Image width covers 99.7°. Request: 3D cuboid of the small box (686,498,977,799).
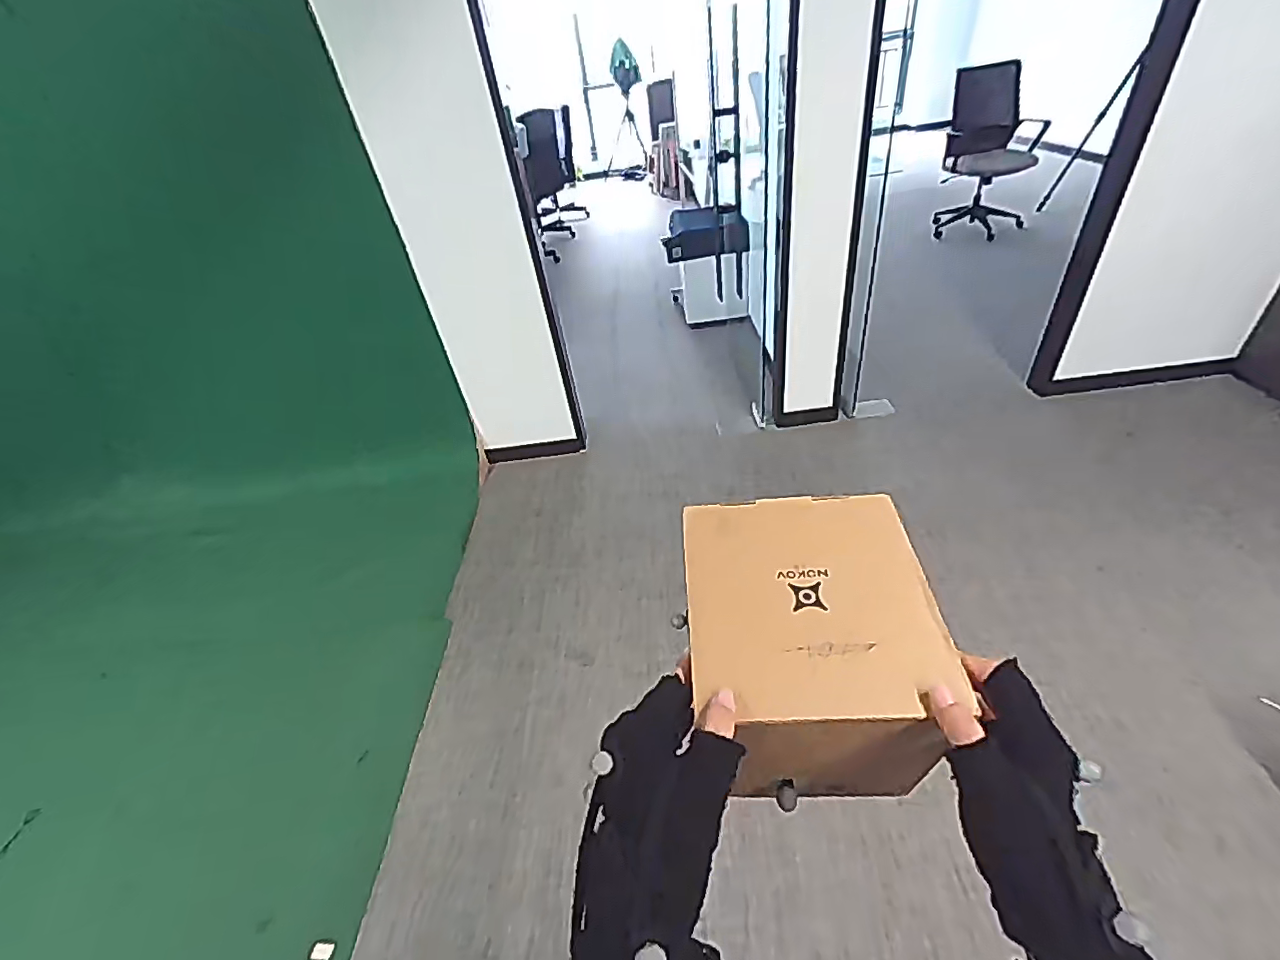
[{"bbox_3d":[0.121,0.134,0.430,0.168,0.176,0.179,-2,48,4],"label":"small box"}]
